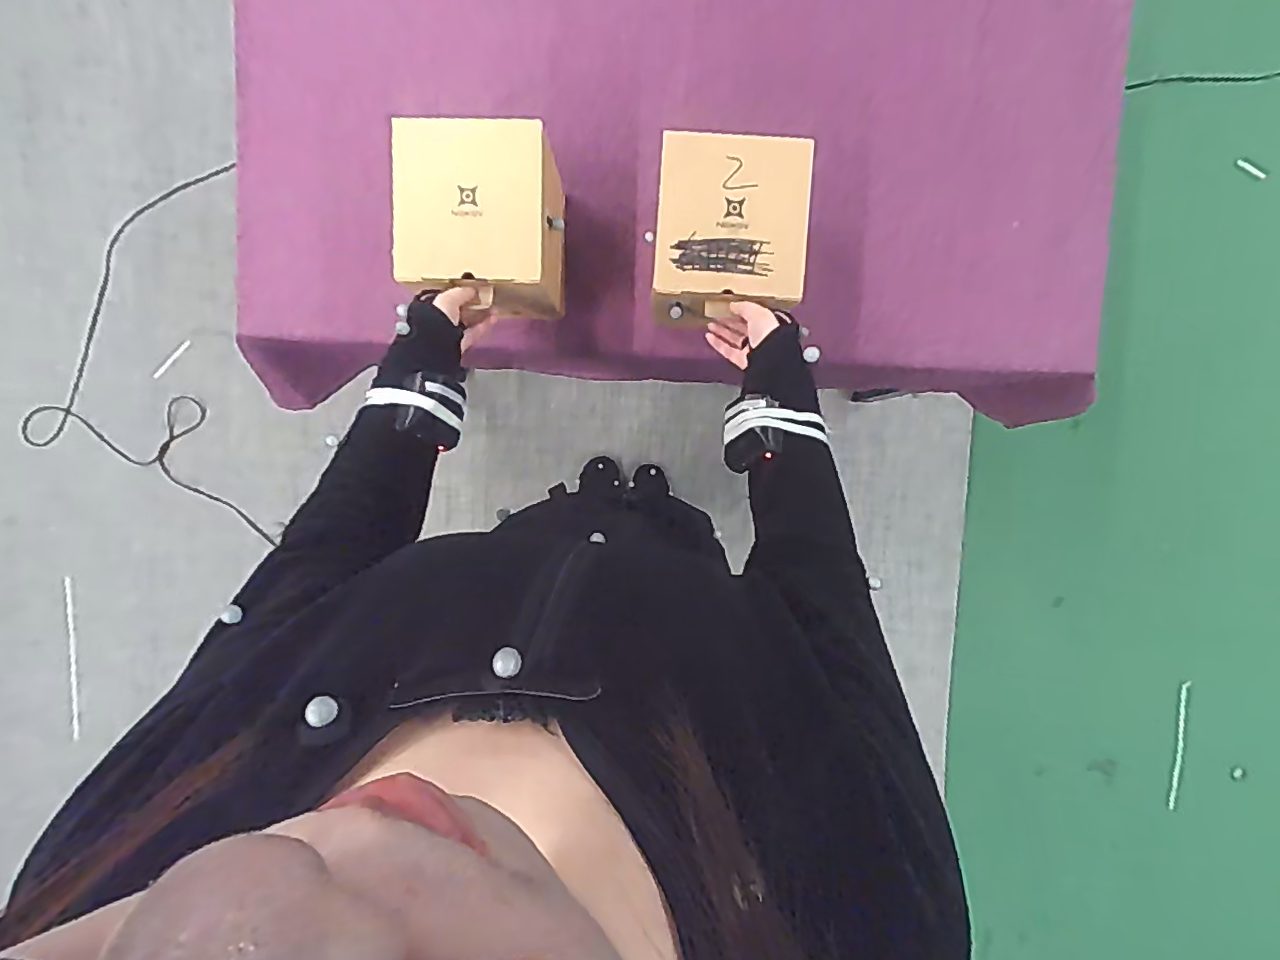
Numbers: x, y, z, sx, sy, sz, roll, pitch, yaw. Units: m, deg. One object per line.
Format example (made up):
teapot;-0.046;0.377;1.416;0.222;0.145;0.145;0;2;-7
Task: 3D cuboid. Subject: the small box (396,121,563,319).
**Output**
small box;-0.192;-0.316;0.687;0.168;0.176;0.179;1;94;0
